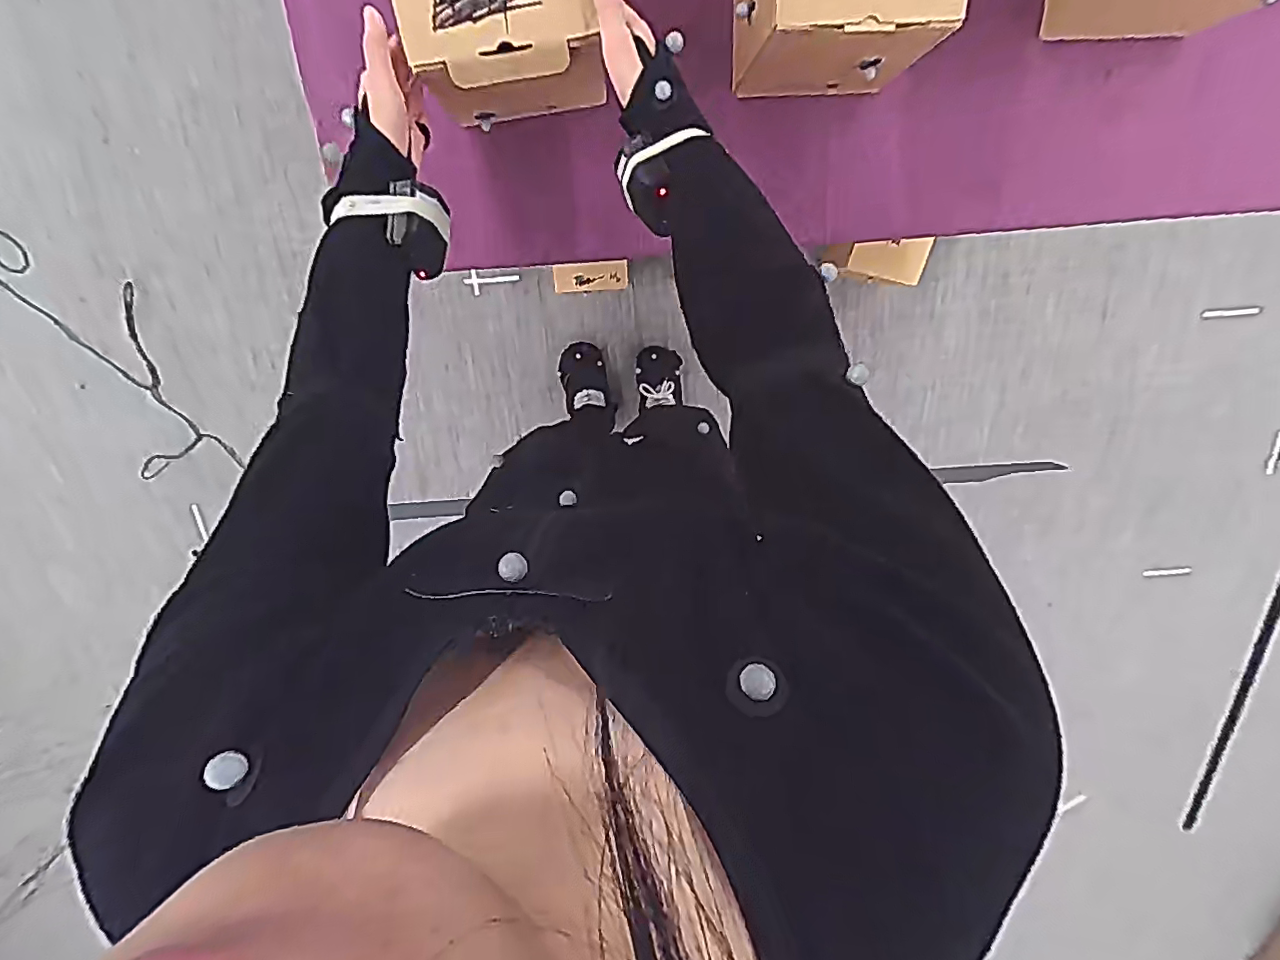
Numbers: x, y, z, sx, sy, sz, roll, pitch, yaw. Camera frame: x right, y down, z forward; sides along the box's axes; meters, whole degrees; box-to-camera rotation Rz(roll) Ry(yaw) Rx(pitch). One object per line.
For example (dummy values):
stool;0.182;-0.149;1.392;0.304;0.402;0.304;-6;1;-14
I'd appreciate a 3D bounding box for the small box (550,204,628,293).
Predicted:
small box;-0.115;-0.527;1.250;0.168;0.176;0.179;-2;109;-2

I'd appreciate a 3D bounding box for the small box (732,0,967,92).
small box;0.186;-0.486;0.504;0.168;0.176;0.179;-4;108;-3

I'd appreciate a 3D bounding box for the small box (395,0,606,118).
small box;-0.124;-0.457;0.494;0.168;0.176;0.179;-9;109;0

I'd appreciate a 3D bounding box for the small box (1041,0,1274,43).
small box;0.531;-0.539;0.501;0.179;0.176;0.168;-3;109;-2

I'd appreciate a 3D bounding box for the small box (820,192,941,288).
small box;0.557;-0.561;1.275;0.179;0.176;0.168;12;110;-6
